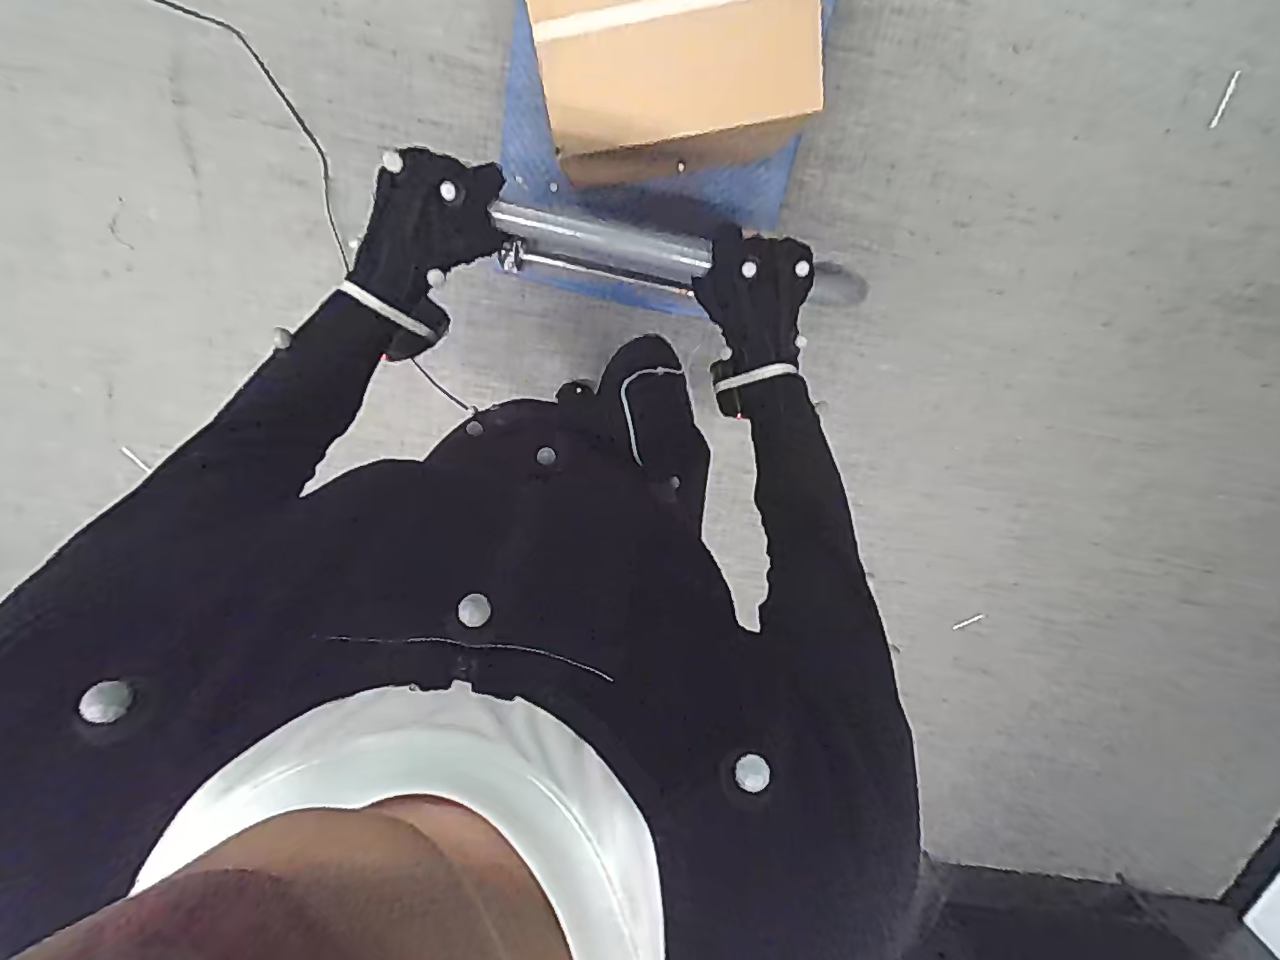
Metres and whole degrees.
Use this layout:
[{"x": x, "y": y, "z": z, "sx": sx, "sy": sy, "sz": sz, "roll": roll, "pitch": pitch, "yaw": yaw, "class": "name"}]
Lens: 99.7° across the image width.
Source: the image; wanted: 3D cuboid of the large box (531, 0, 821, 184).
[{"x": 0.049, "y": -0.722, "z": 0.903, "sx": 0.408, "sy": 0.320, "sz": 0.320, "roll": -9, "pitch": 109, "yaw": 3, "class": "large box"}]
